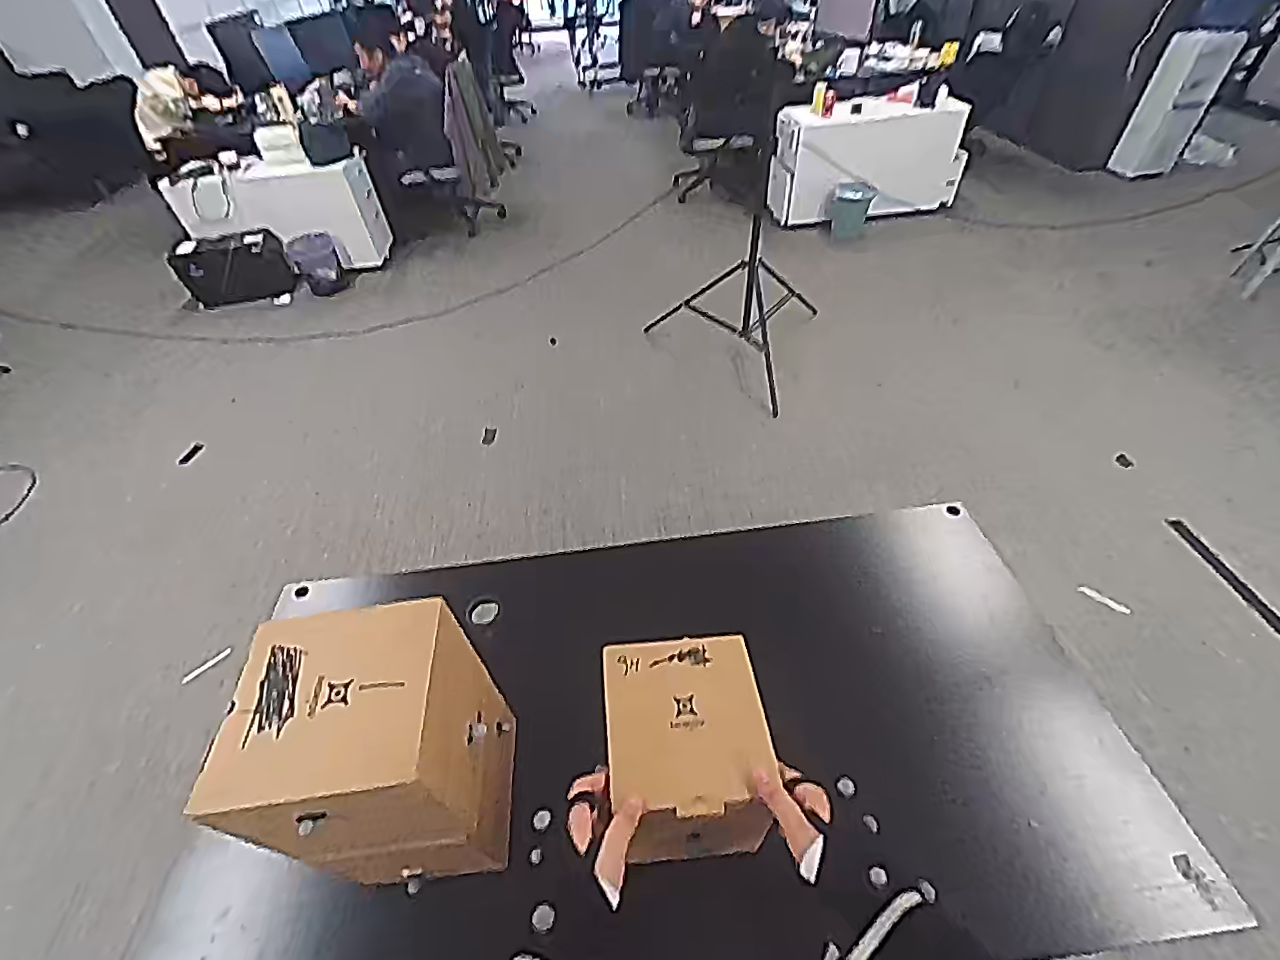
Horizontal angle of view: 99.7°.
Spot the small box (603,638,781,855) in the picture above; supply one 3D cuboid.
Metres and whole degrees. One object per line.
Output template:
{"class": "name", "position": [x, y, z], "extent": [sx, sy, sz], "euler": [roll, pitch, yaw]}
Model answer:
{"class": "small box", "position": [0.046, 0.303, 0.610], "extent": [0.168, 0.176, 0.179], "euler": [-3, 43, -4]}

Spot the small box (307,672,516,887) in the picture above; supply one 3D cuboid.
{"class": "small box", "position": [-0.248, 0.354, 0.641], "extent": [0.168, 0.176, 0.179], "euler": [-7, 47, -1]}

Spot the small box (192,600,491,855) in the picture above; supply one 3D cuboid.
{"class": "small box", "position": [-0.258, 0.241, 0.522], "extent": [0.179, 0.176, 0.168], "euler": [-8, 46, -3]}
